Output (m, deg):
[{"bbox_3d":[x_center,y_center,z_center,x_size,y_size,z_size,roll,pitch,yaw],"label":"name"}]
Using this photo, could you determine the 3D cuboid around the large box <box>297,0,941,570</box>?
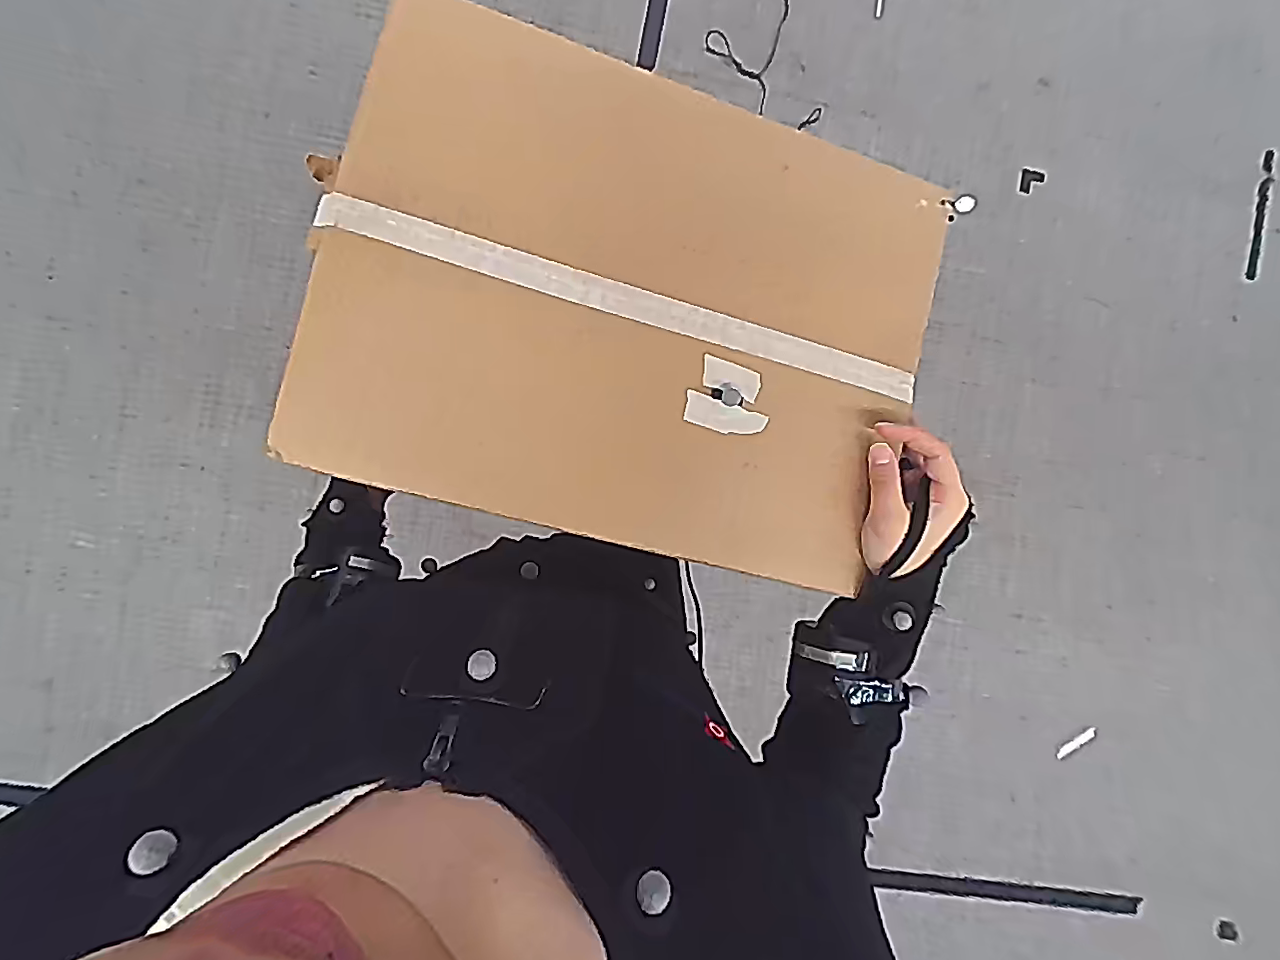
[{"bbox_3d":[-0.019,-0.123,0.517,0.408,0.320,0.320,14,88,-11],"label":"large box"}]
